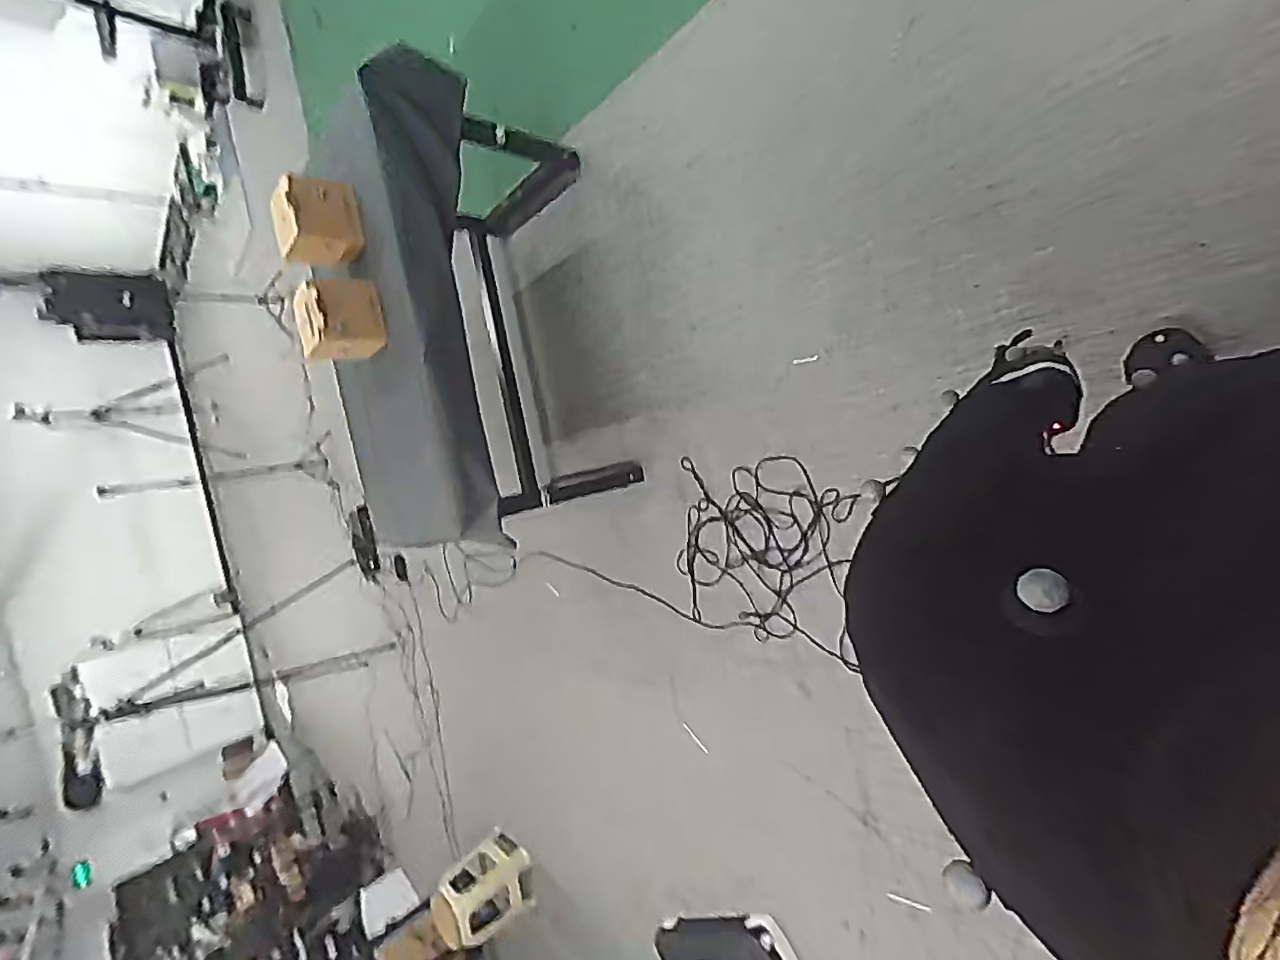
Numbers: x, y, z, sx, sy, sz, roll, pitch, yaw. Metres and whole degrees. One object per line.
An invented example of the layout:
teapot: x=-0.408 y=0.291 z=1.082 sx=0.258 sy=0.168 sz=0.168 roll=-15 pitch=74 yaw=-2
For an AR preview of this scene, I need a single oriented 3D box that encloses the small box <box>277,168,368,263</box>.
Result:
small box: x=-0.866 y=-0.716 z=1.485 sx=0.179 sy=0.176 sz=0.168 roll=-11 pitch=91 yaw=46
